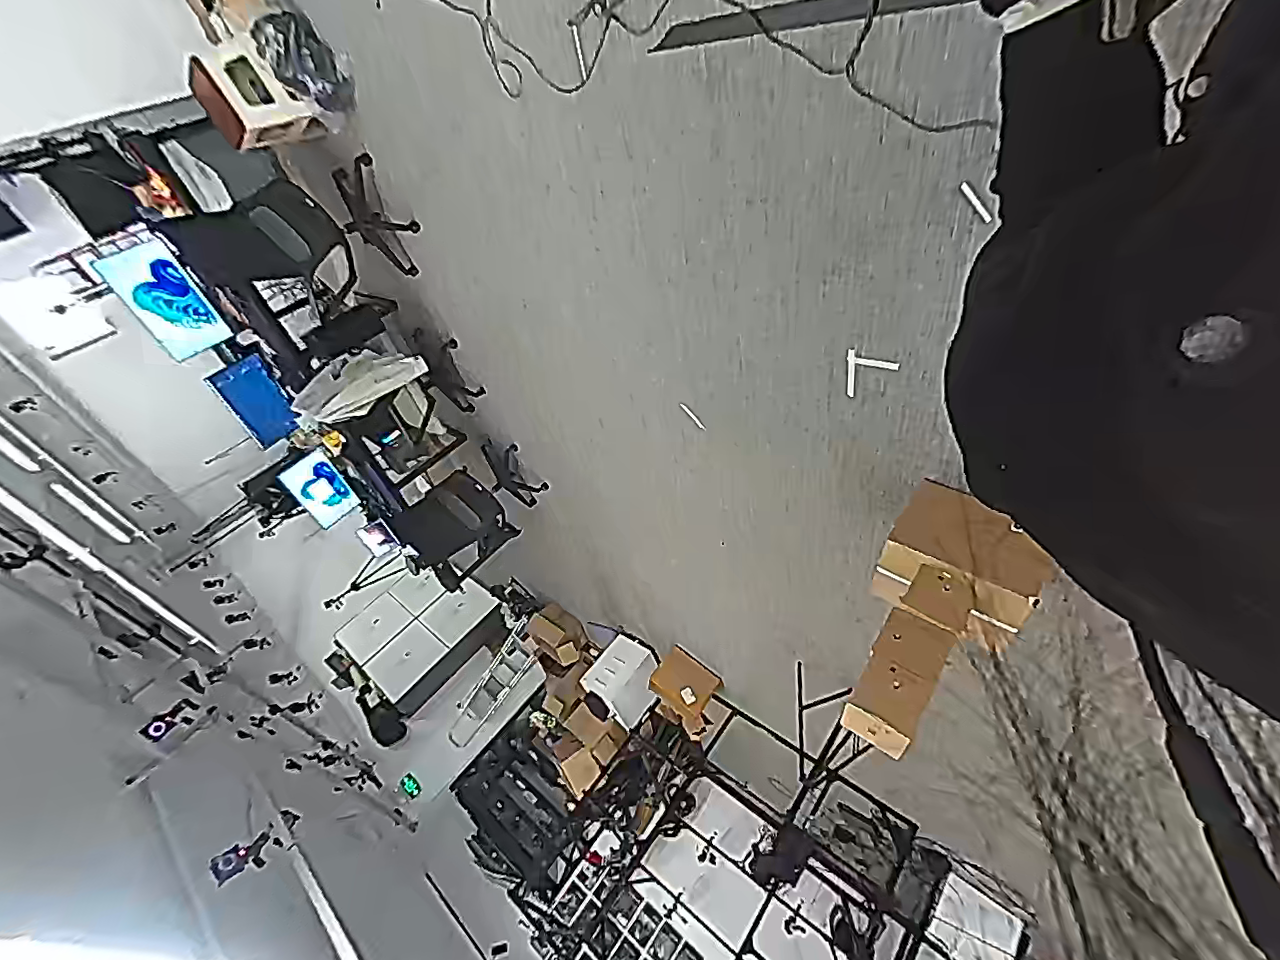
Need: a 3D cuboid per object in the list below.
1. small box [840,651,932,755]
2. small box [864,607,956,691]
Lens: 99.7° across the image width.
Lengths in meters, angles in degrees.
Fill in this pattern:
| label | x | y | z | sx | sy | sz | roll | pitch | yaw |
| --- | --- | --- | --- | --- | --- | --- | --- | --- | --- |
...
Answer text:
| label | x | y | z | sx | sy | sz | roll | pitch | yaw |
| --- | --- | --- | --- | --- | --- | --- | --- | --- | --- |
| small box | 0.667 | 0.603 | 1.472 | 0.168 | 0.176 | 0.179 | 26 | 147 | 30 |
| small box | 0.766 | 0.490 | 1.542 | 0.179 | 0.176 | 0.168 | 24 | 147 | 32 |
